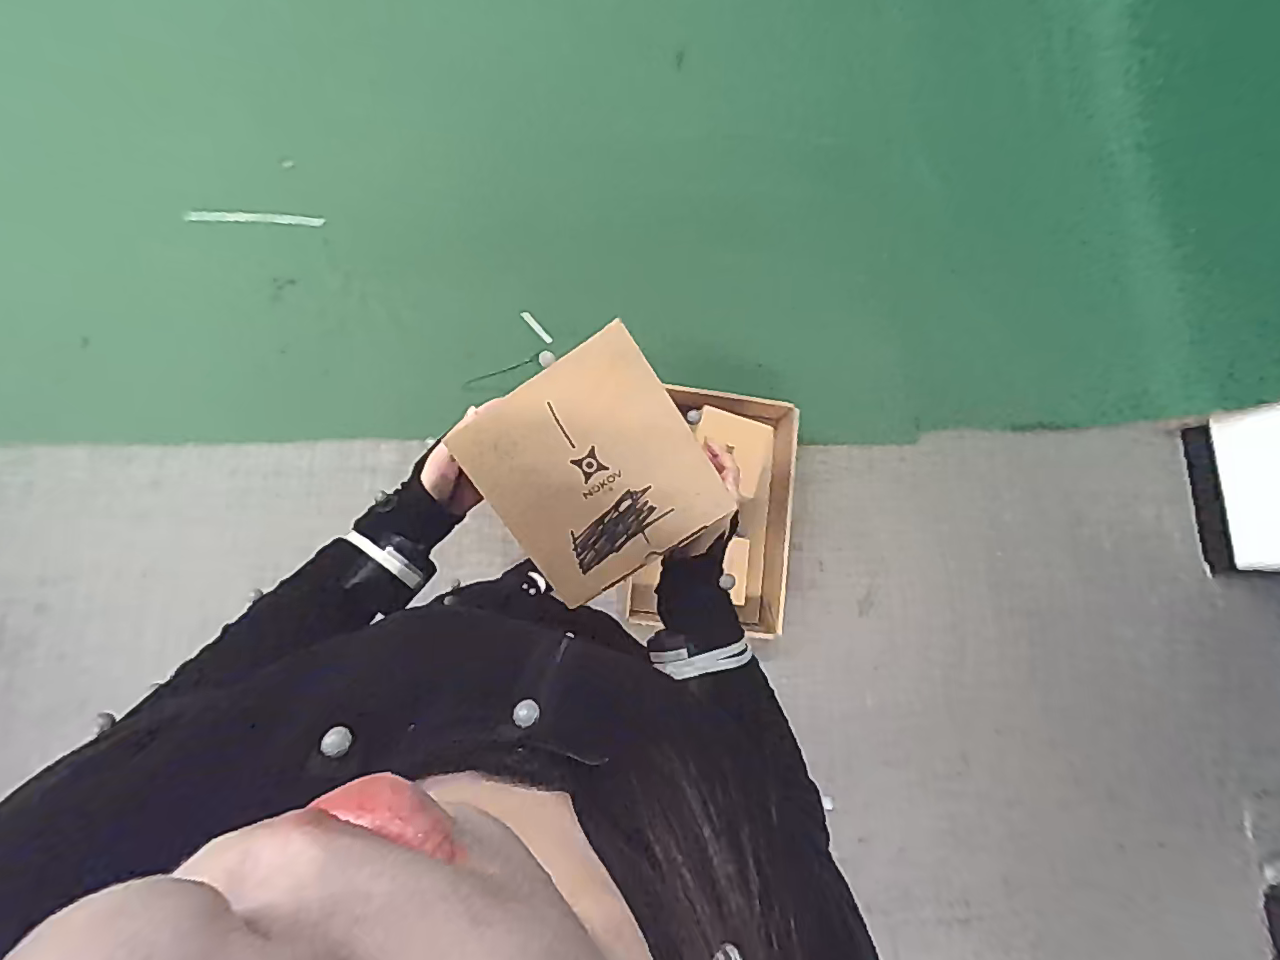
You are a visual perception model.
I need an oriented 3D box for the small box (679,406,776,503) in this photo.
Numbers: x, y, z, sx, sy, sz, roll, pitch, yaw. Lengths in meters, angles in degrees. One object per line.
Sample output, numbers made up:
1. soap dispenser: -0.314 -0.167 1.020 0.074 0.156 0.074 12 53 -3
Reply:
1. small box: 0.199 -0.053 1.282 0.168 0.176 0.179 18 83 -3
